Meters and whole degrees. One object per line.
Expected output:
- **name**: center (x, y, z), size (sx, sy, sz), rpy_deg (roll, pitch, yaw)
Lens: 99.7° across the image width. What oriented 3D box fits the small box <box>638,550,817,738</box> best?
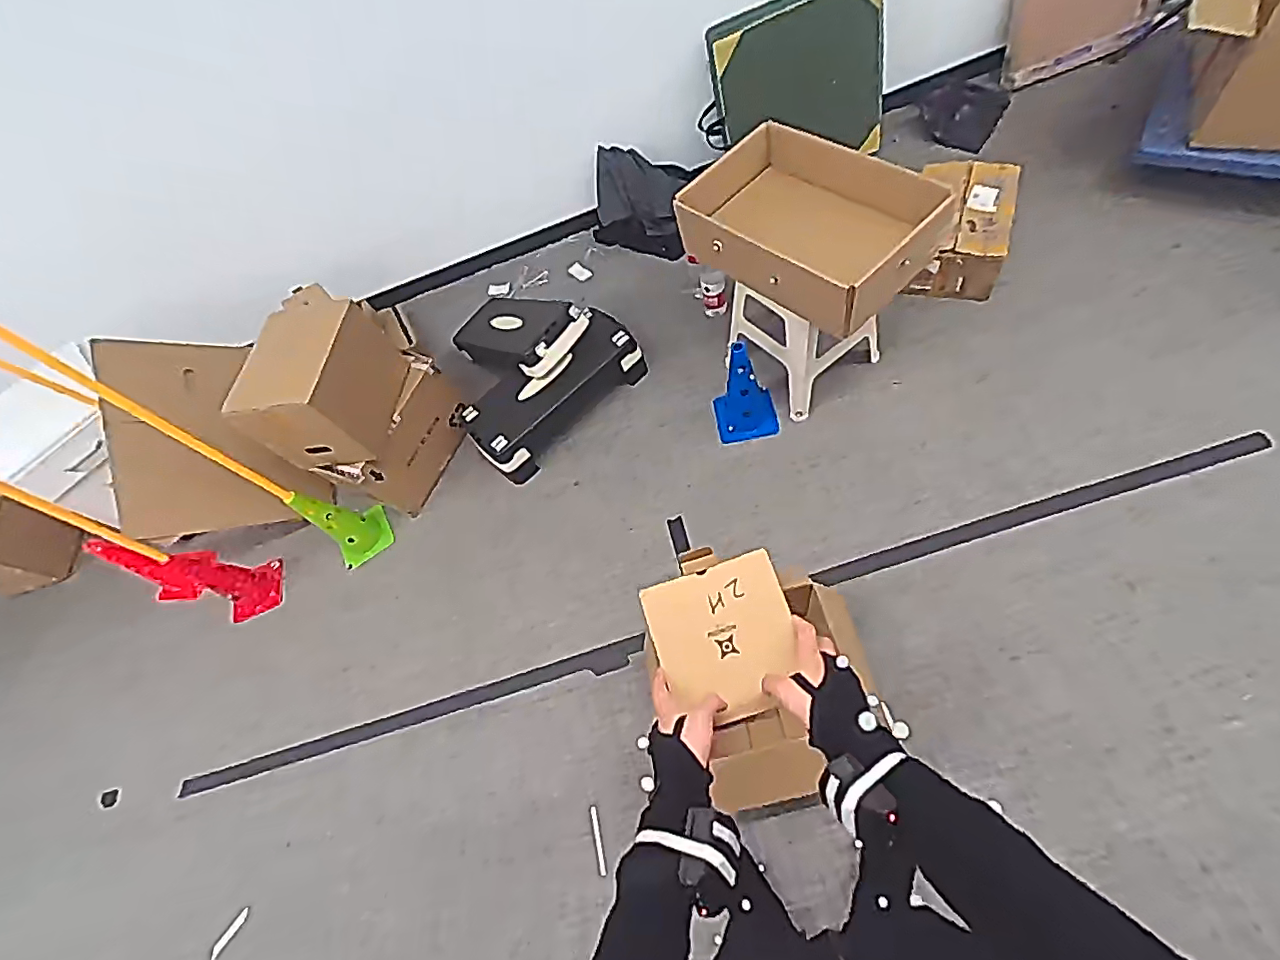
- **small box**: center (0.112, 0.209, 0.703), size (0.168, 0.176, 0.179), rpy_deg (-20, 70, 4)
